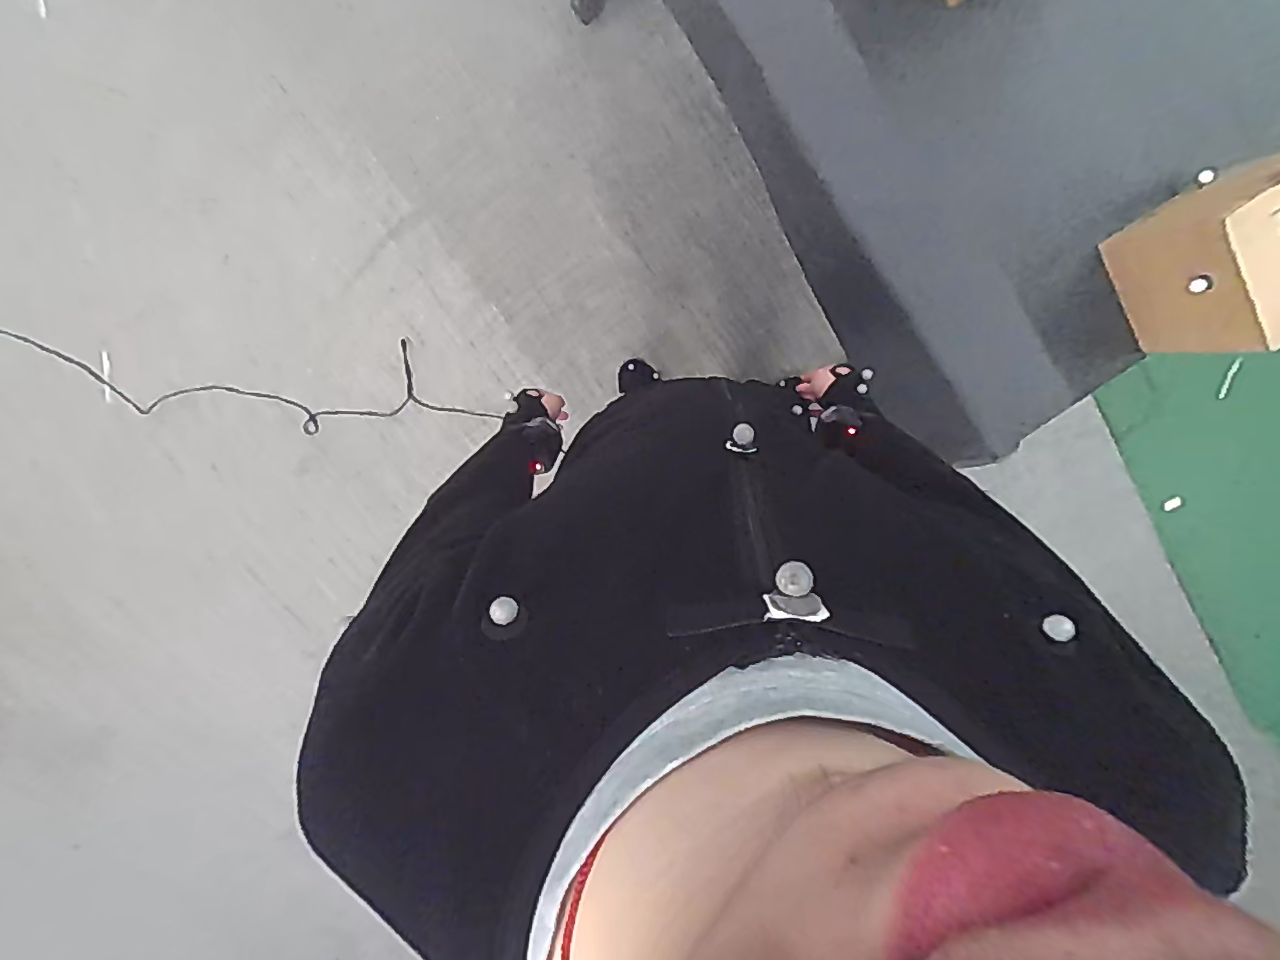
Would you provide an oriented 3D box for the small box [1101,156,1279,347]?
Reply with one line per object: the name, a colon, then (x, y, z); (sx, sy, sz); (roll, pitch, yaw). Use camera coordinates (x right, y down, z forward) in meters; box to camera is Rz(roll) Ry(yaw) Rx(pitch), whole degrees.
small box: (0.752, -0.284, 0.689); (0.168, 0.176, 0.179); (-34, 102, 5)
